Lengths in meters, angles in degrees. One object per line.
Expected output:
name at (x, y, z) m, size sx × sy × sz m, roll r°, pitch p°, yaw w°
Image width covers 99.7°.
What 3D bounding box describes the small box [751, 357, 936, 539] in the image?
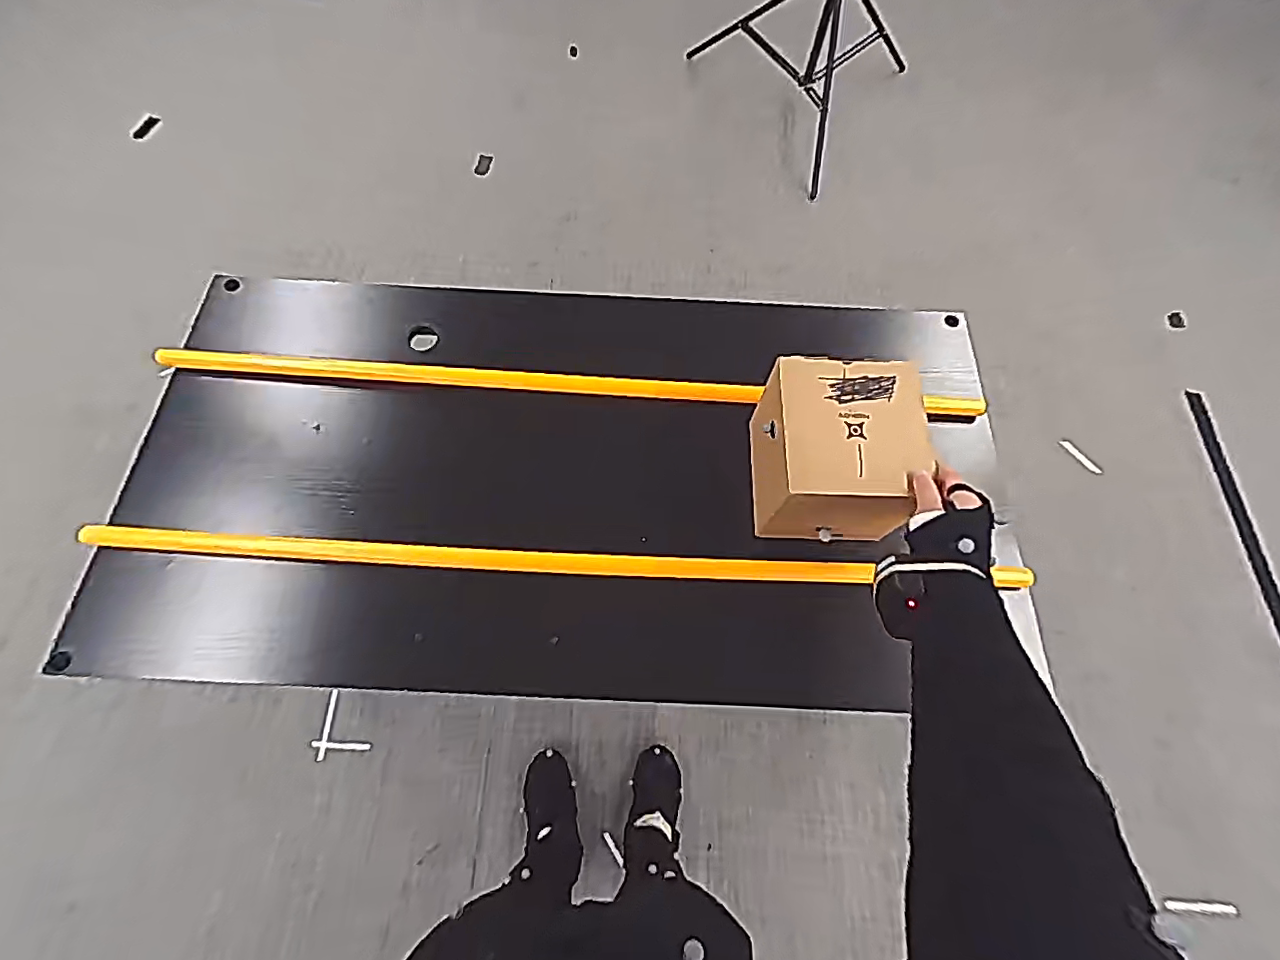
small box at (0.240, -0.034, 0.689) m, size 0.168 × 0.176 × 0.179 m, roll 2°, pitch 68°, yaw 0°
